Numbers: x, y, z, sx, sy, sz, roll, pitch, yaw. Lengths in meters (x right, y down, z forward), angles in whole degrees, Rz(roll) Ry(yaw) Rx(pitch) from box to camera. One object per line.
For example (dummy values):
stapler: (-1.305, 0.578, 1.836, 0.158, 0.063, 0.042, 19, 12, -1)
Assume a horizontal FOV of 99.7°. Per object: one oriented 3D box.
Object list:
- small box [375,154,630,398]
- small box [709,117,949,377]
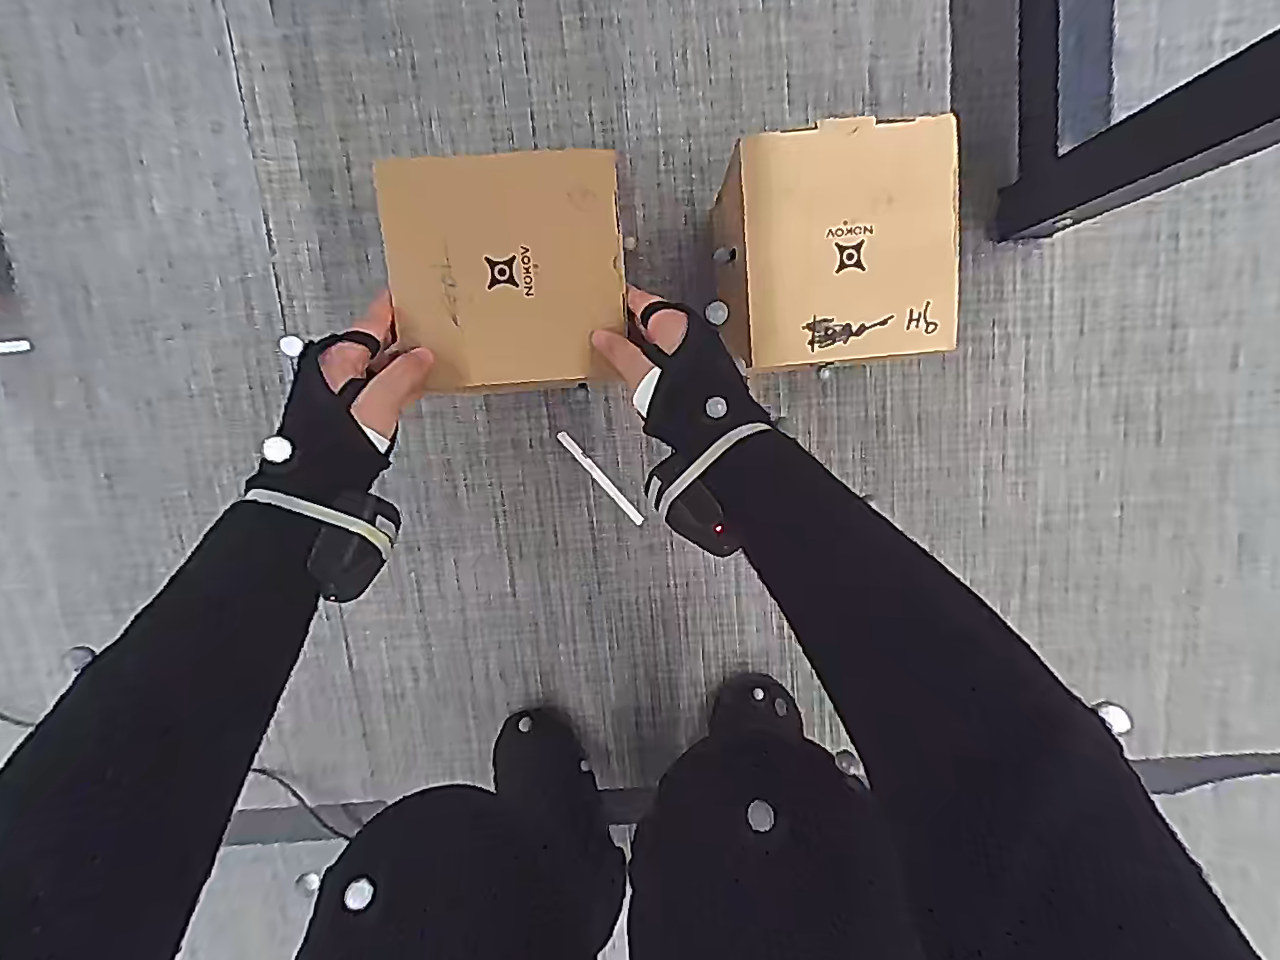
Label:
small box: (-0.105, -0.164, 0.486, 0.179, 0.176, 0.168, -6, 97, -1)
small box: (0.159, -0.195, 0.502, 0.168, 0.176, 0.179, -5, 98, 2)
